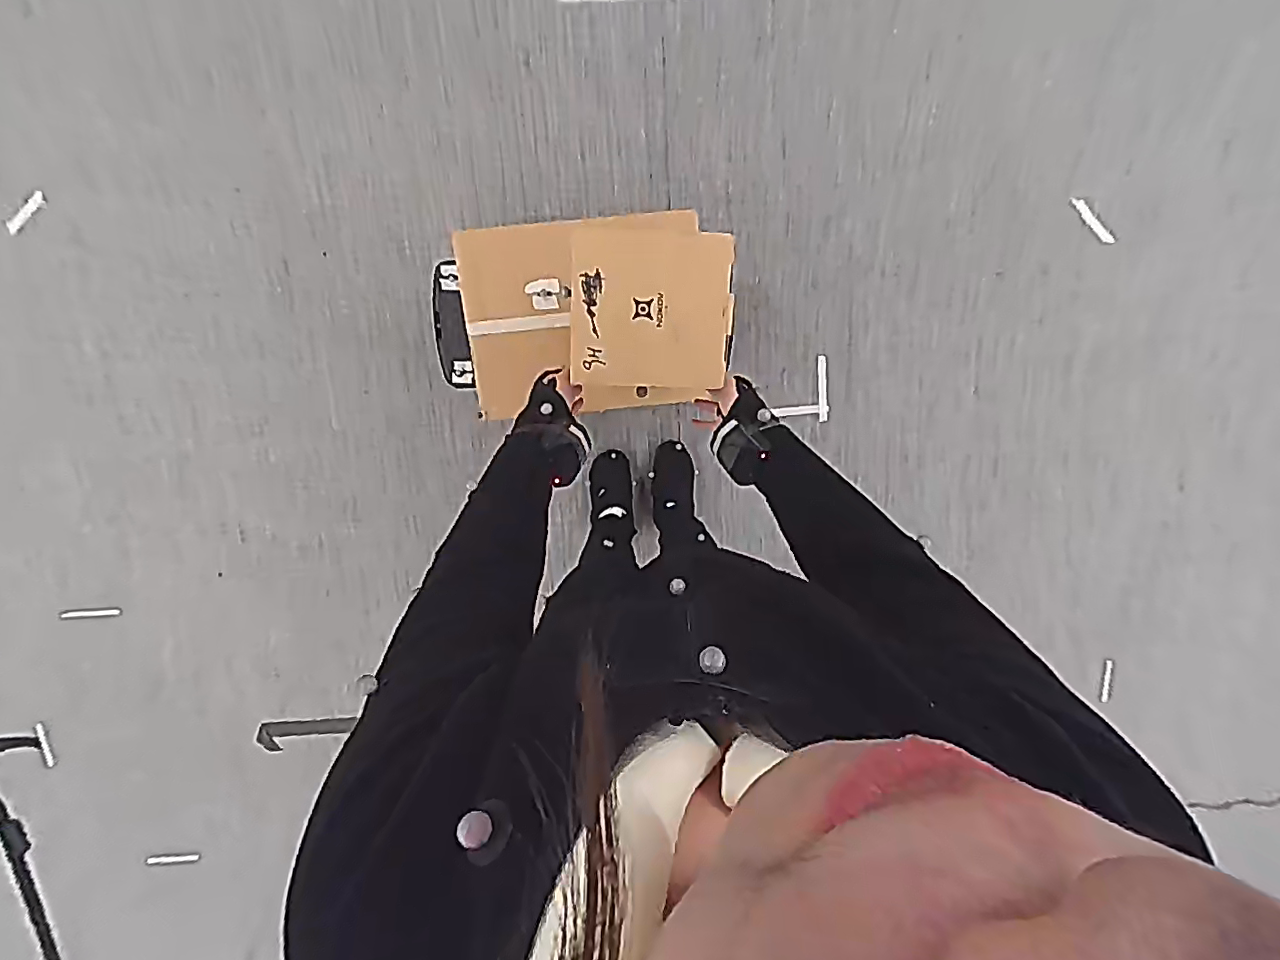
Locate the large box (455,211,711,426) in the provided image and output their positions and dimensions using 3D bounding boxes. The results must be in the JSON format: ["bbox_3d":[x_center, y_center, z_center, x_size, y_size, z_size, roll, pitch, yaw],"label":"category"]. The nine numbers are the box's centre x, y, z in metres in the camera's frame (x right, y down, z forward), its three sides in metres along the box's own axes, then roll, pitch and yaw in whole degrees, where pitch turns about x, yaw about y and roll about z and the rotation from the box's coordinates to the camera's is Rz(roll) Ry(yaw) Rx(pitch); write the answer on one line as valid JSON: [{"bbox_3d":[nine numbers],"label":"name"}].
[{"bbox_3d":[-0.091,-0.295,1.051,0.408,0.320,0.320,-6,101,0],"label":"large box"}]

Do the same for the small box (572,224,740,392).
[{"bbox_3d":[0.011,-0.197,0.657,0.179,0.176,0.168,2,100,-4],"label":"small box"}]
